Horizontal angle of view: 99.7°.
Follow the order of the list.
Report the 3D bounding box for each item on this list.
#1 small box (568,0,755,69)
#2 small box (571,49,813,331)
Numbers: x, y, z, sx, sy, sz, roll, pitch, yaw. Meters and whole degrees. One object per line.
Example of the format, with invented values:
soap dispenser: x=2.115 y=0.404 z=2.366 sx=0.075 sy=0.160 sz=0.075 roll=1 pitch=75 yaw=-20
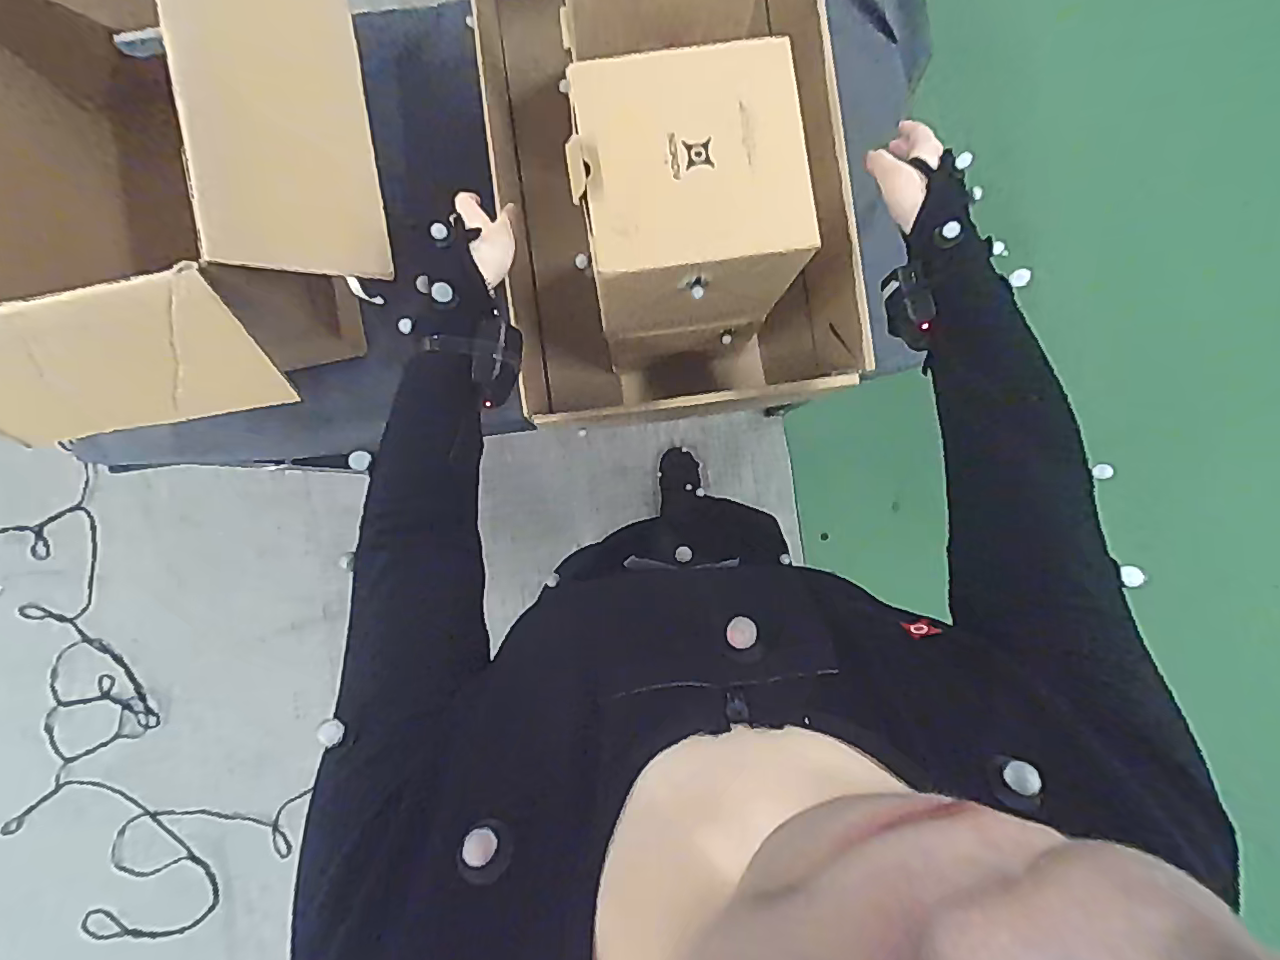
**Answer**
small box: x=0.011 y=-0.502 z=0.497 sx=0.168 sy=0.176 sz=0.179 roll=-6 pitch=92 yaw=-3
small box: x=0.039 y=-0.246 z=0.500 sx=0.179 sy=0.176 sz=0.168 roll=-7 pitch=89 yaw=-3
